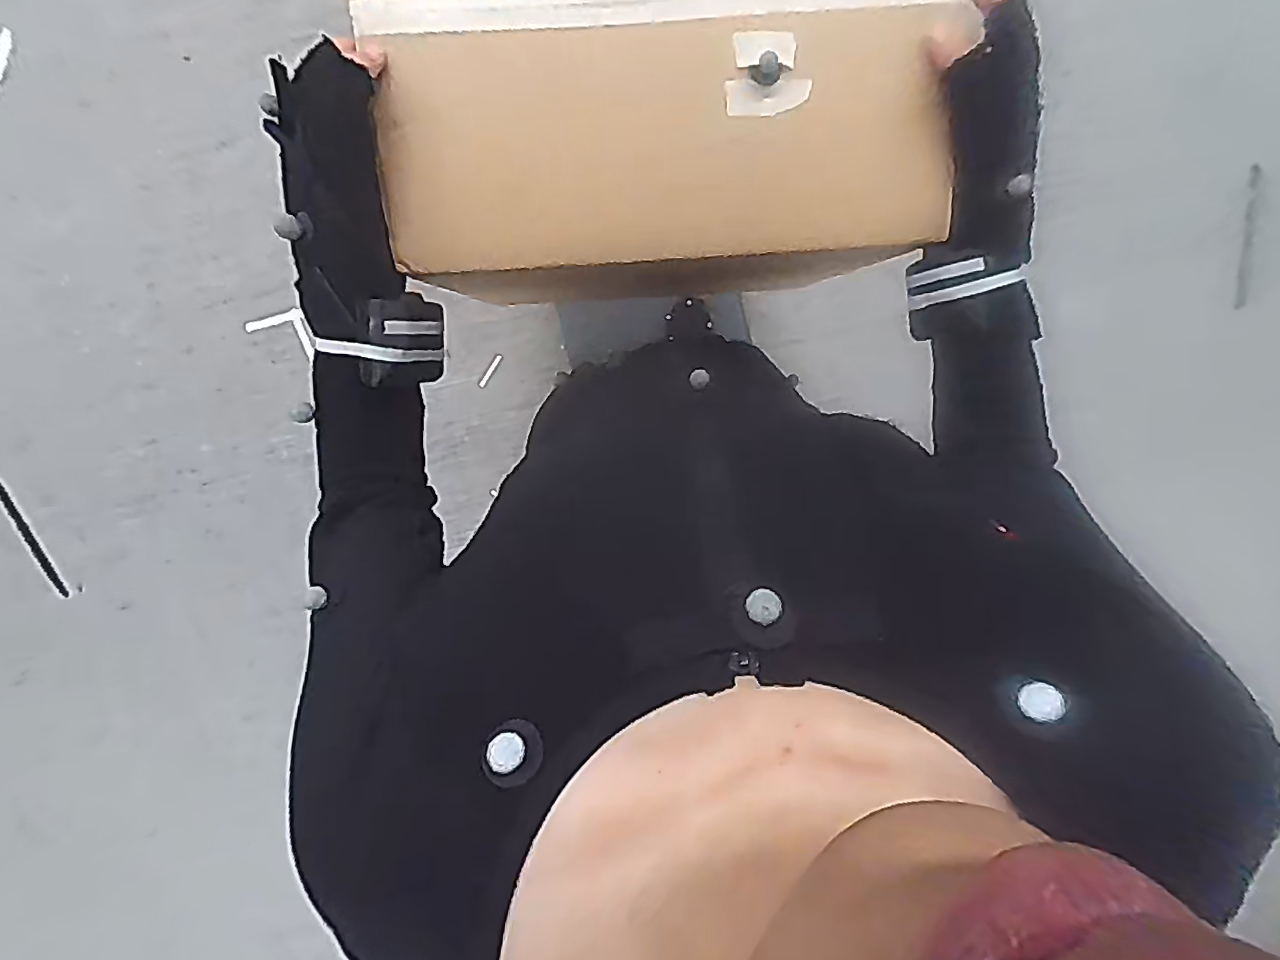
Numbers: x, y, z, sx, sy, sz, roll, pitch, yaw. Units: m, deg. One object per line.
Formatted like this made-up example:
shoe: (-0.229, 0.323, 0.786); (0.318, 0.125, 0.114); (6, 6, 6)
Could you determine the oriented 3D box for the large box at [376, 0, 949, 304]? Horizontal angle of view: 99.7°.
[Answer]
large box: (0.010, -0.357, 0.517); (0.408, 0.320, 0.320); (-4, 104, -2)
